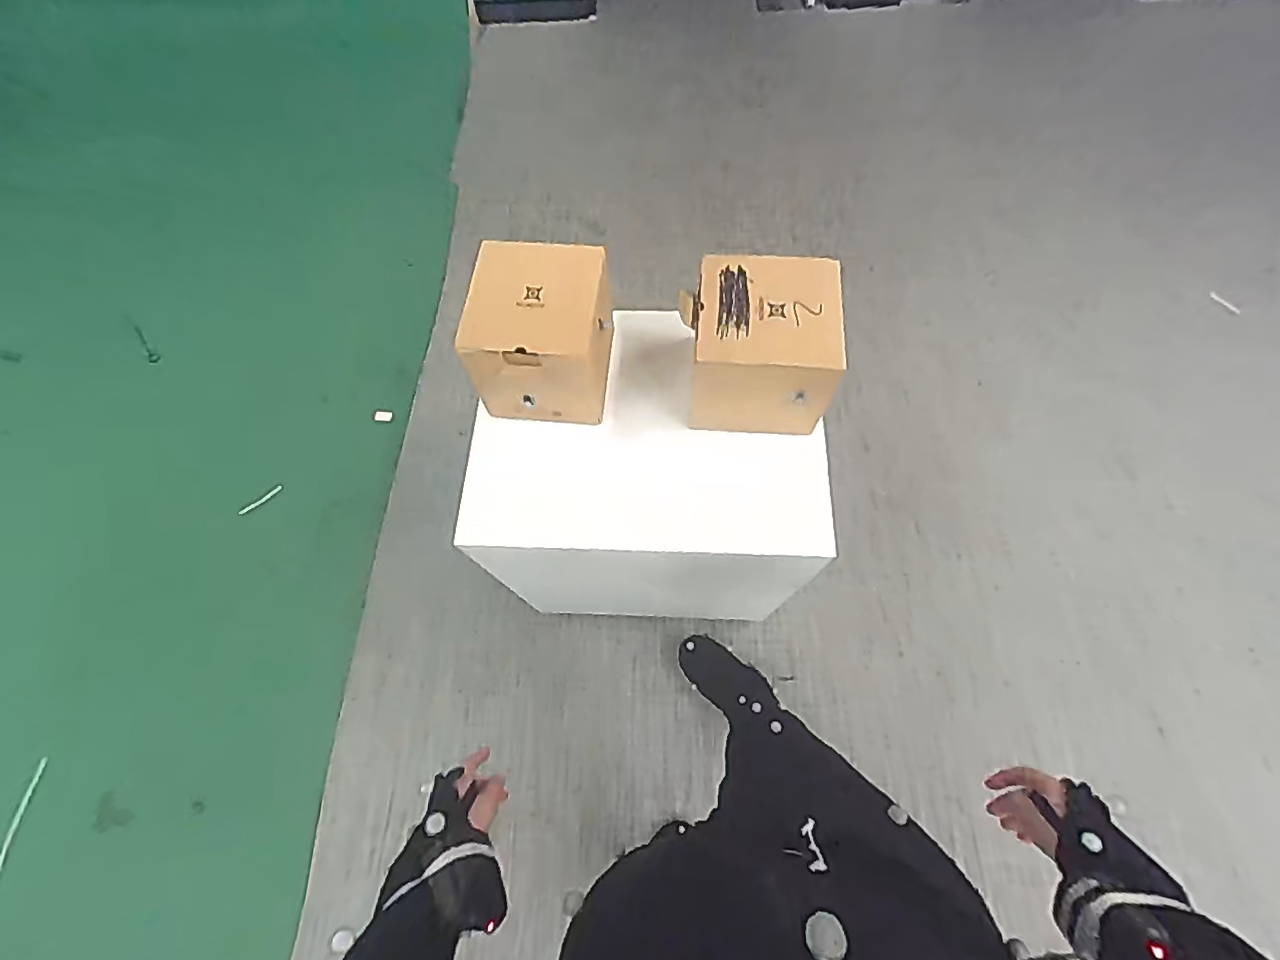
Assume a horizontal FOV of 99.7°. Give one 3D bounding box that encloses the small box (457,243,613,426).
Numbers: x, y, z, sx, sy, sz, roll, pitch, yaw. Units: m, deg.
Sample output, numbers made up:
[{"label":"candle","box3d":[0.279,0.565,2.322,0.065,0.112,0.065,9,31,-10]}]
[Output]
[{"label":"small box","box3d":[-0.130,-0.195,0.750,0.168,0.176,0.179,4,68,3]}]
